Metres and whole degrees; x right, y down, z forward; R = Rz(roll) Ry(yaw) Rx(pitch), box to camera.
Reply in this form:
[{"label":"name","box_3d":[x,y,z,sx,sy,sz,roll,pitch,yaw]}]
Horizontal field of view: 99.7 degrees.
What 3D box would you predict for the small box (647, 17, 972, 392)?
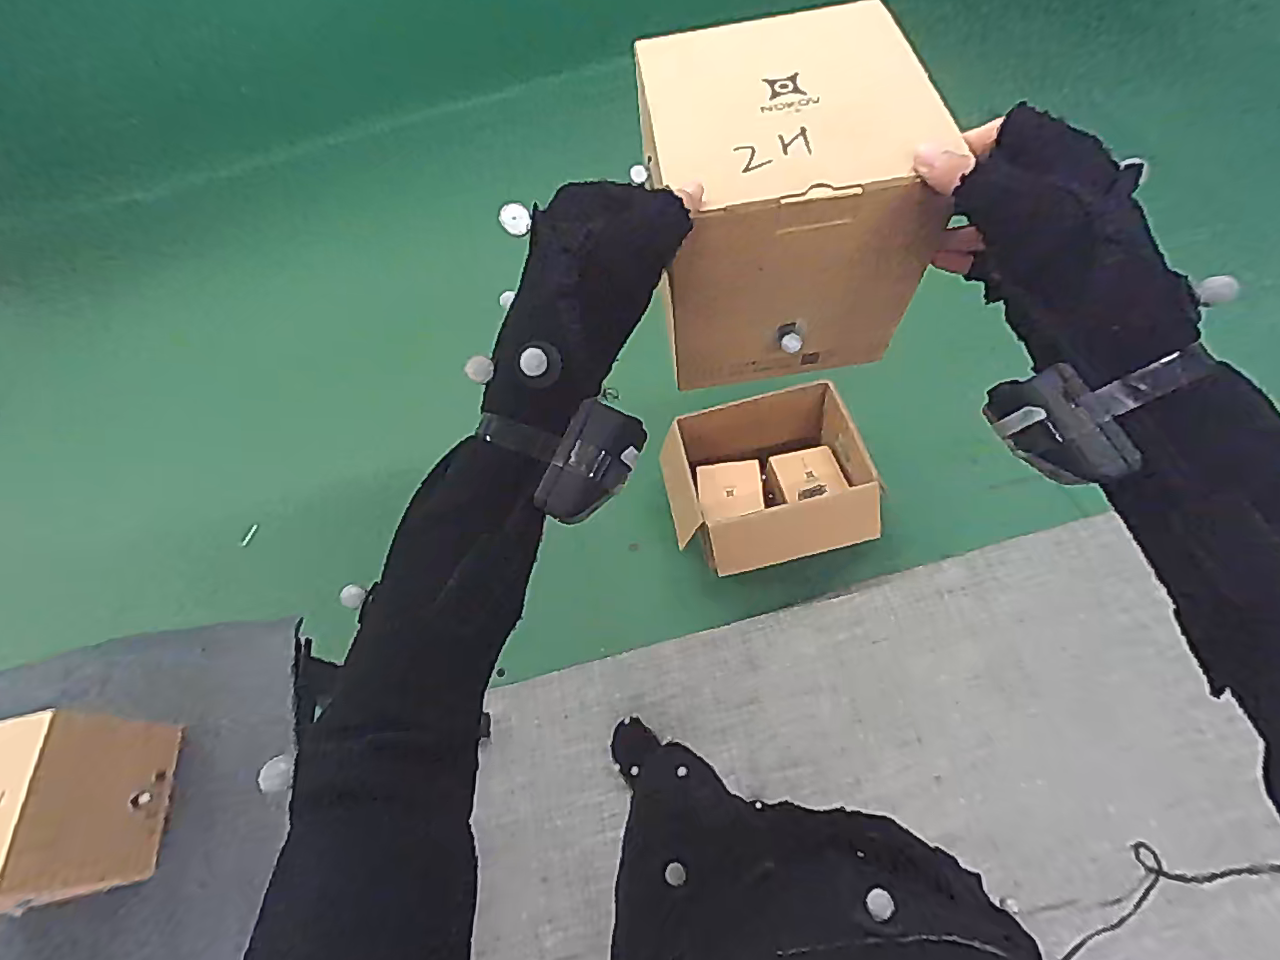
[{"label":"small box","box_3d":[0.097,-0.191,0.400,0.168,0.176,0.179,-7,63,3]}]
